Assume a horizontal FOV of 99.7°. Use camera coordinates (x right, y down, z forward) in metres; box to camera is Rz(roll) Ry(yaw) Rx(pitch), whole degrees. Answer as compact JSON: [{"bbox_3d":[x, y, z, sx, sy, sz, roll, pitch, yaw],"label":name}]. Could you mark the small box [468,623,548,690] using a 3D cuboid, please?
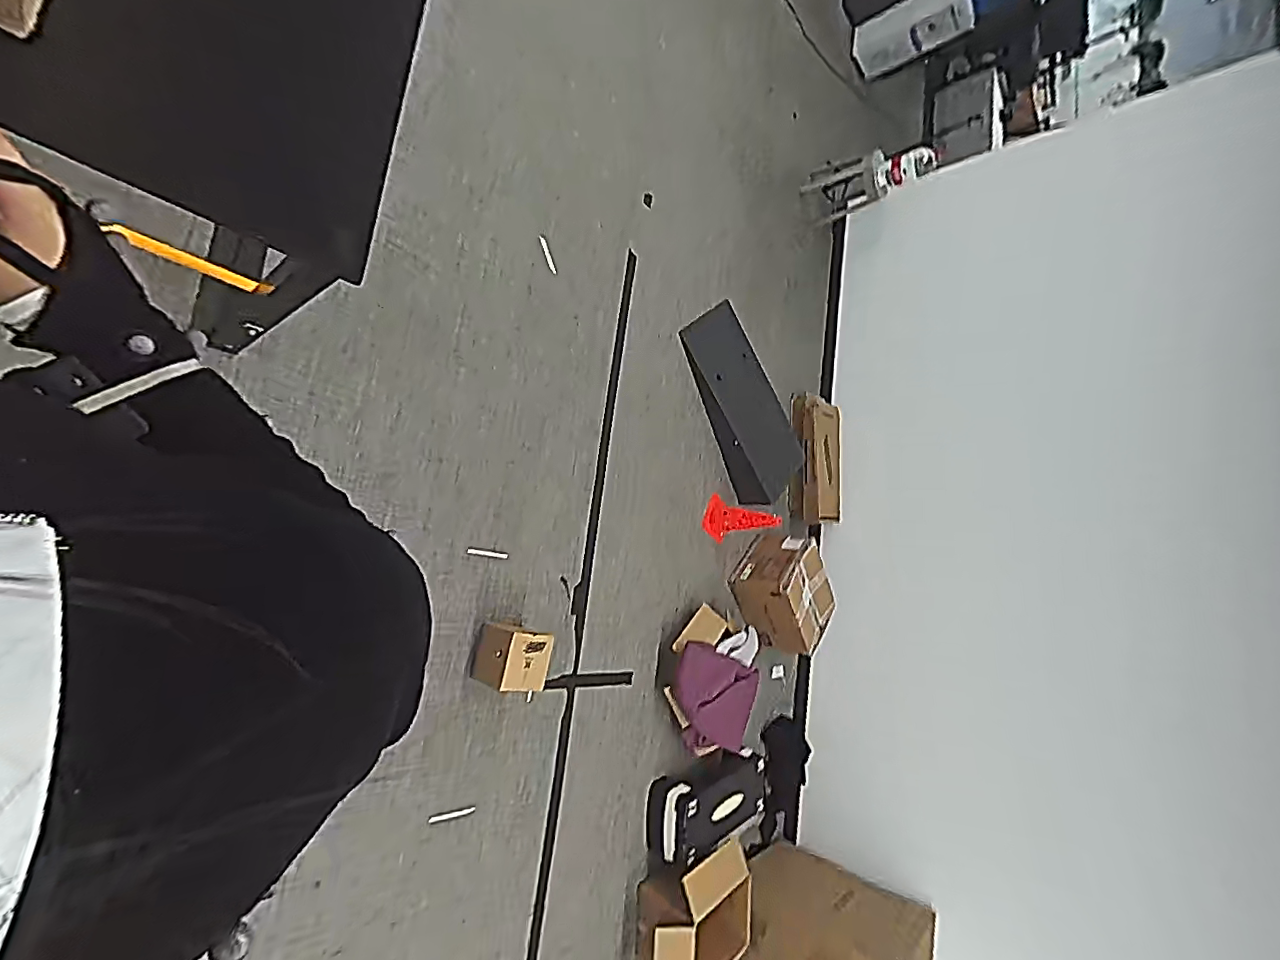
[{"bbox_3d":[-0.424,0.562,1.727,0.168,0.176,0.179,23,73,-46],"label":"small box"}]
